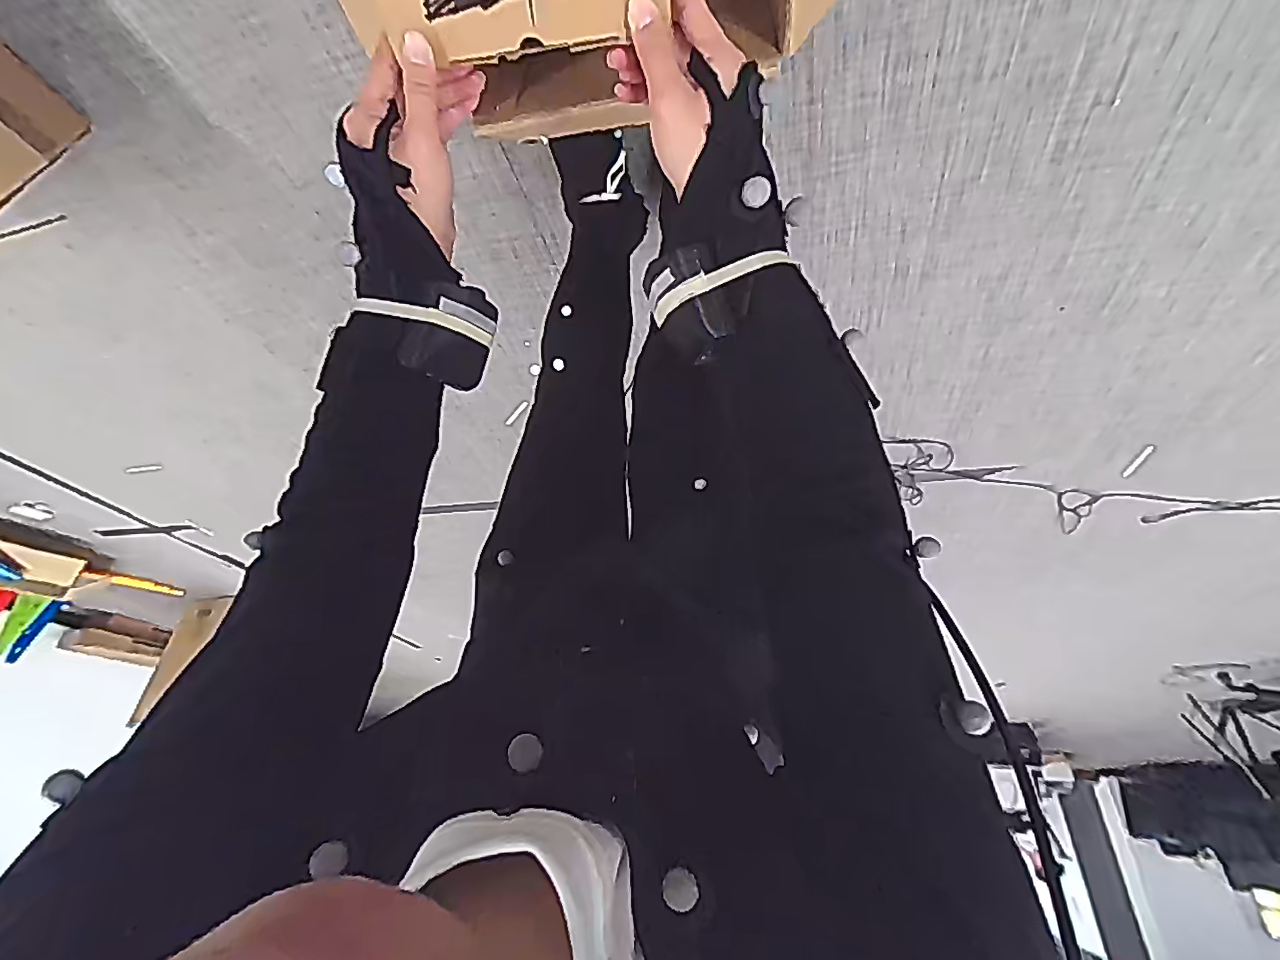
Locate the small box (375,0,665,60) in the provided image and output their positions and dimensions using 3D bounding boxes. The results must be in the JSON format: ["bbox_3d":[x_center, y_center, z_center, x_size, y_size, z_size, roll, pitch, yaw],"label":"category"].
[{"bbox_3d":[-0.069,-0.369,0.295,0.168,0.176,0.179,-2,141,7],"label":"small box"}]
